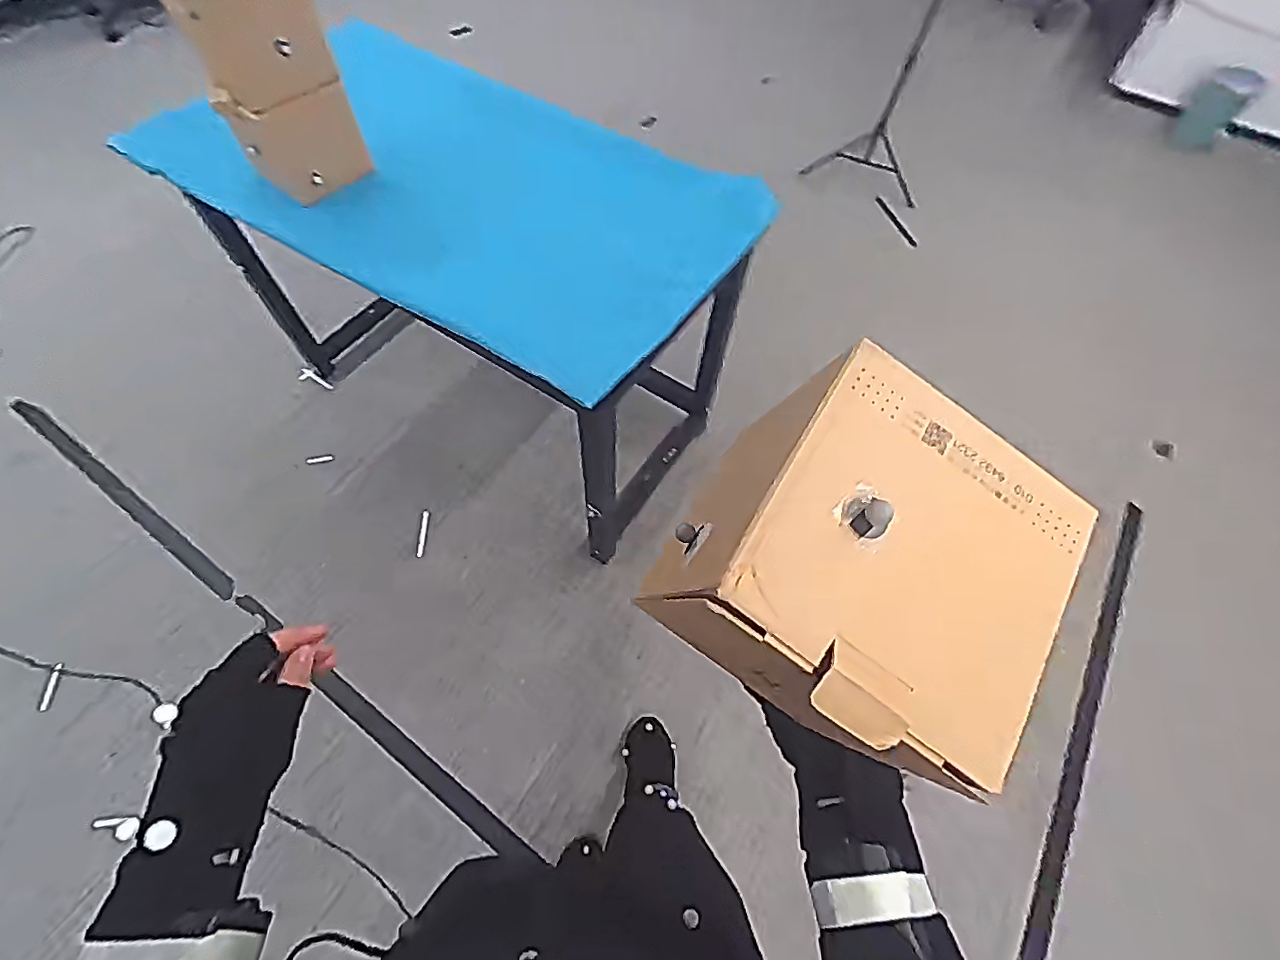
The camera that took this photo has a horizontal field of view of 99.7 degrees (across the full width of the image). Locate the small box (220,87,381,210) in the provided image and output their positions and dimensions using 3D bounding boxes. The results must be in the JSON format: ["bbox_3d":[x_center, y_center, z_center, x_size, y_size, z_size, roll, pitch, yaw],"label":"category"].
[{"bbox_3d":[-0.659,-0.676,1.058,0.168,0.176,0.179,36,66,15],"label":"small box"}]

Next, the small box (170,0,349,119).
[{"bbox_3d":[-0.651,-0.767,0.921,0.168,0.176,0.179,40,68,17],"label":"small box"}]

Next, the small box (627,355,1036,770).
[{"bbox_3d":[0.119,0.050,0.360,0.168,0.179,0.176,36,71,-4],"label":"small box"}]
